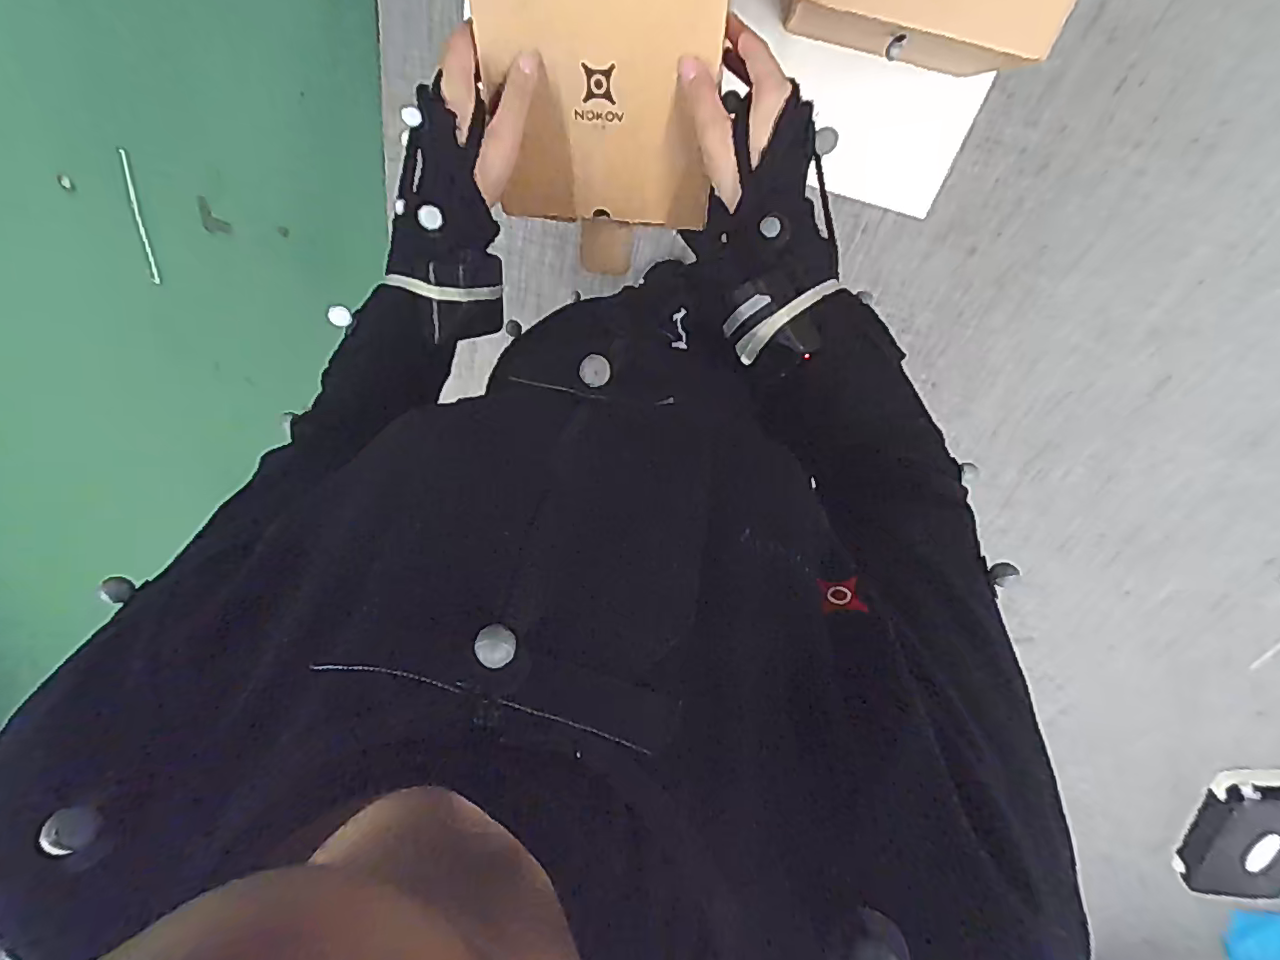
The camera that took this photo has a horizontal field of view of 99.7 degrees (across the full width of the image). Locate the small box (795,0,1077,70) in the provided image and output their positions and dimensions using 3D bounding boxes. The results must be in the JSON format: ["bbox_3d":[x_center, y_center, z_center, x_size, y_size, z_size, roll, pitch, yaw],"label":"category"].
[{"bbox_3d":[0.223,-0.415,0.388,0.179,0.176,0.168,15,126,1],"label":"small box"}]
